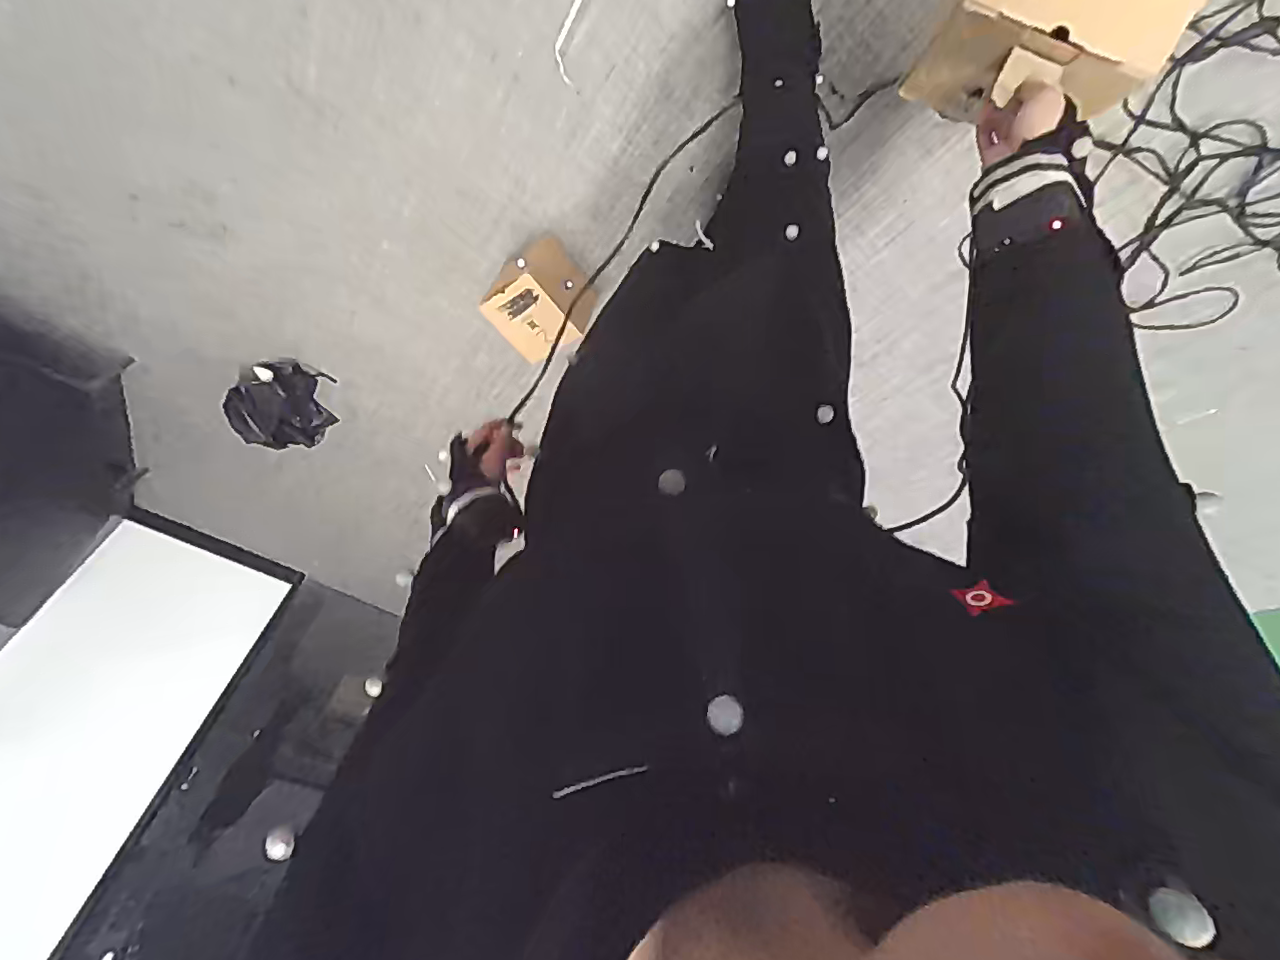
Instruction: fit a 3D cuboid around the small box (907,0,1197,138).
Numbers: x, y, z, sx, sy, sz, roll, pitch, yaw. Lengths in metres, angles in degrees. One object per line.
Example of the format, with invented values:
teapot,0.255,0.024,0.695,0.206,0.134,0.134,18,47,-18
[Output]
small box,0.372,-0.449,0.480,0.168,0.176,0.179,23,107,1
